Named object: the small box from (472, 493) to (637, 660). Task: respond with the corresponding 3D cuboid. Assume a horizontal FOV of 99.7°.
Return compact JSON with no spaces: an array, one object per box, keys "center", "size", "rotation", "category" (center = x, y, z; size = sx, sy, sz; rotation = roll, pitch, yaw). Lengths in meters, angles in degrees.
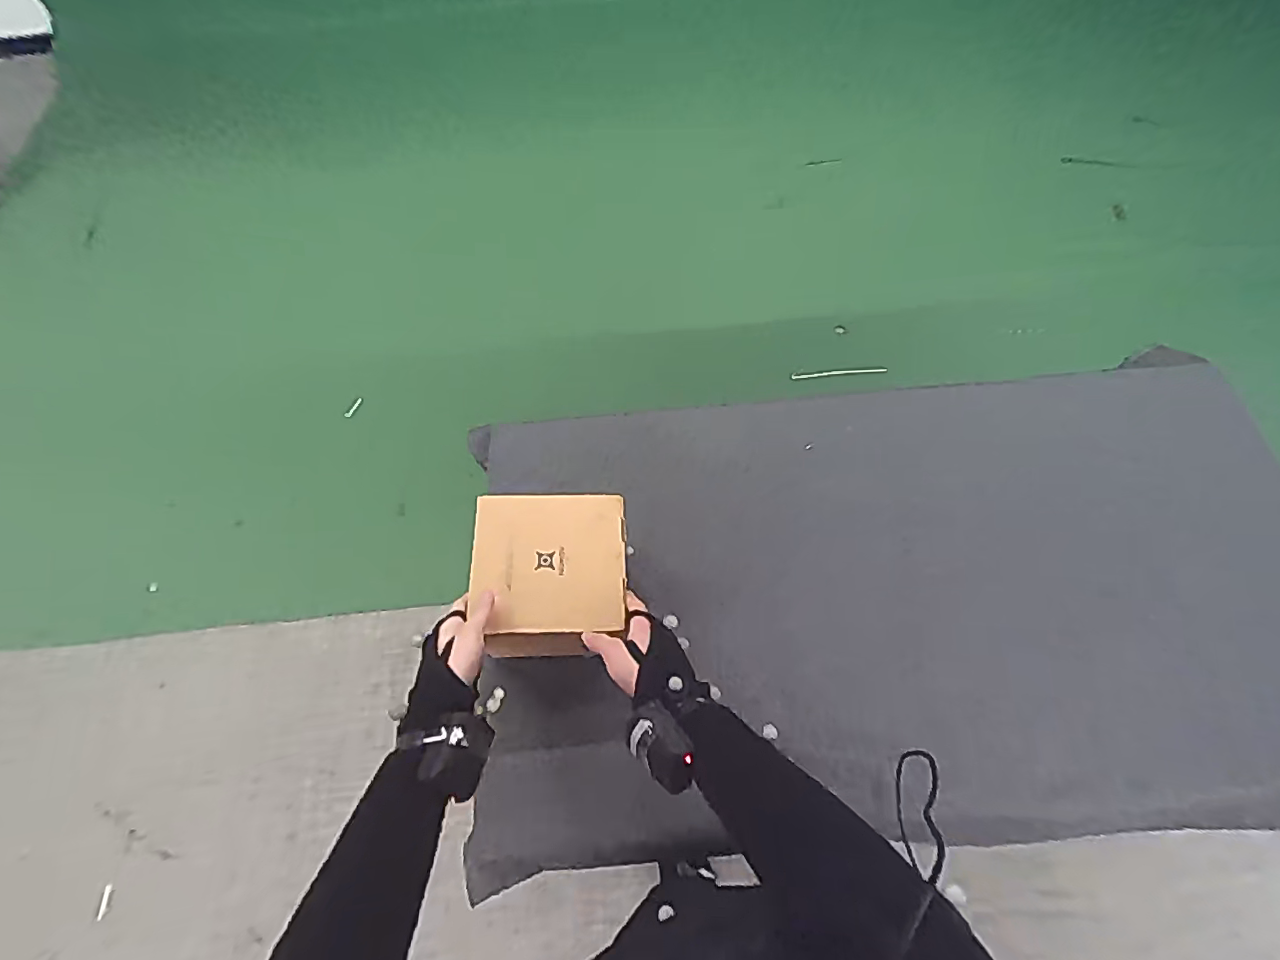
[{"center":[-0.098,0.127,0.679],"size":[0.179,0.176,0.168],"rotation":[1,63,-4],"category":"small box"}]
